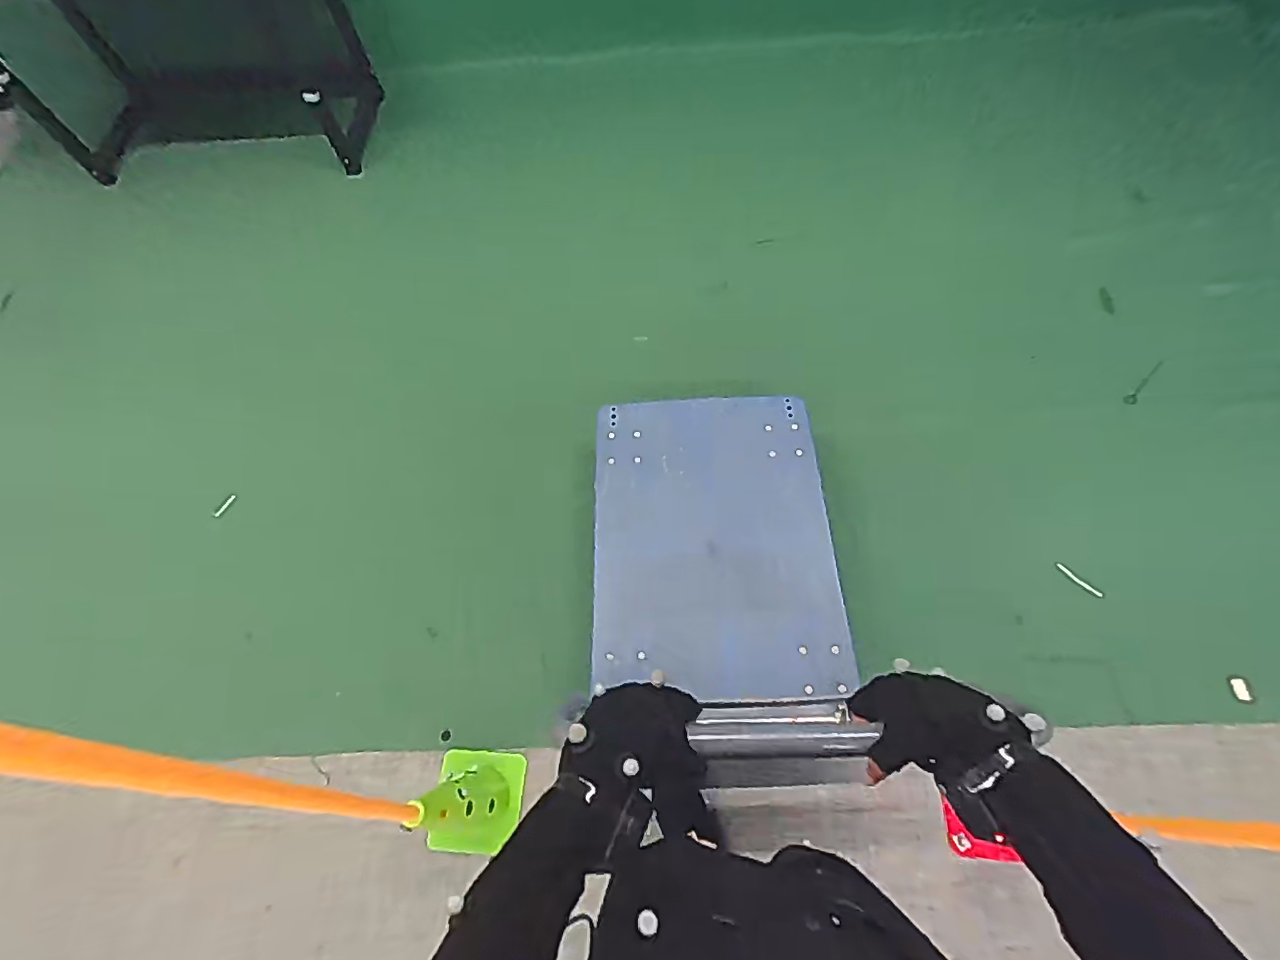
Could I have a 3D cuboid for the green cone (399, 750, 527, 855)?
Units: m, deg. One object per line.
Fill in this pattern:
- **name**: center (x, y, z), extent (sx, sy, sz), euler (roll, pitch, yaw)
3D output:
- **green cone**: center (-0.381, 0.655, 1.092), extent (0.202, 0.368, 0.200), euler (1, 62, 5)
